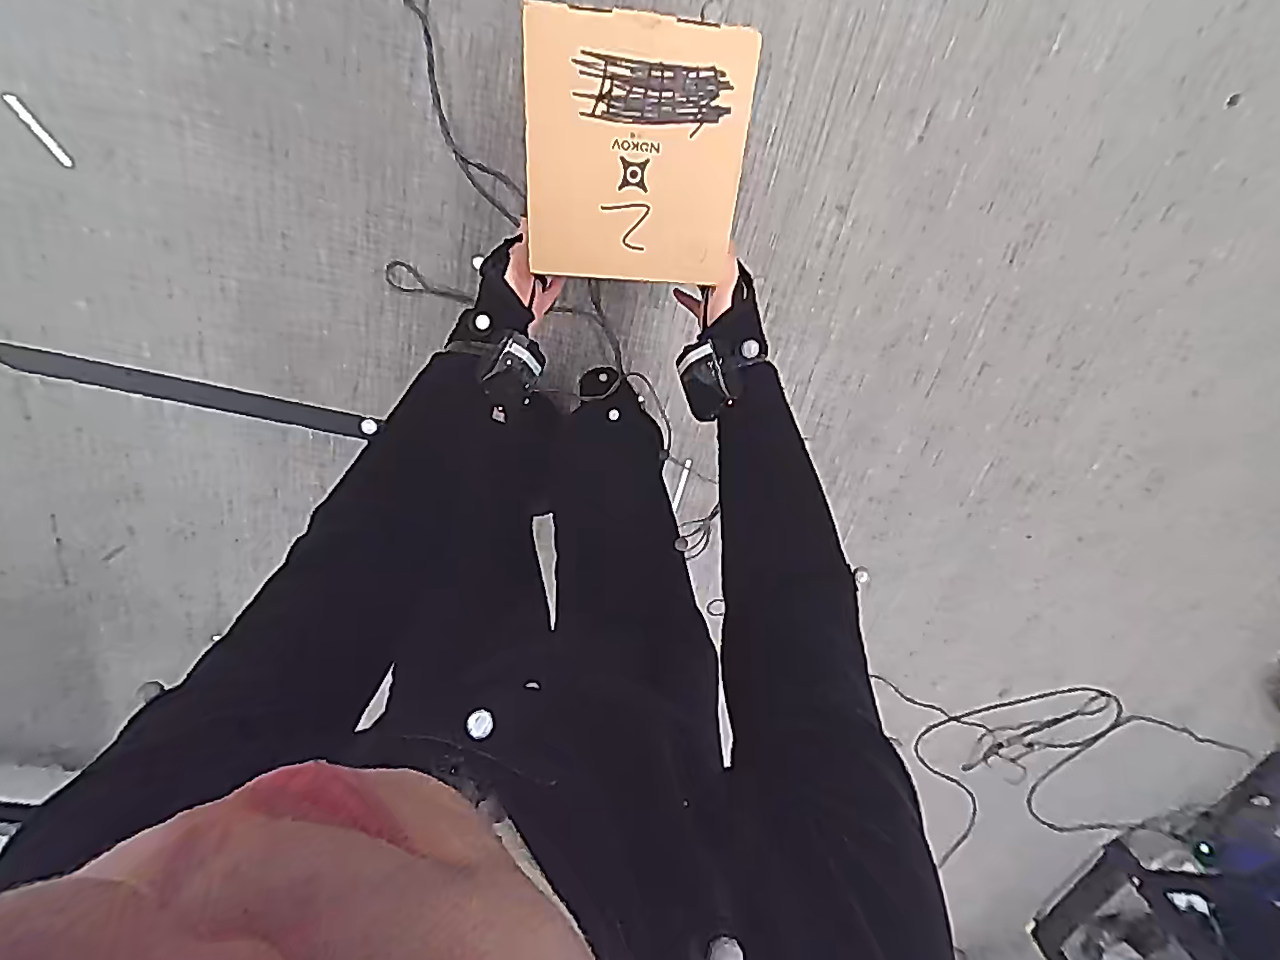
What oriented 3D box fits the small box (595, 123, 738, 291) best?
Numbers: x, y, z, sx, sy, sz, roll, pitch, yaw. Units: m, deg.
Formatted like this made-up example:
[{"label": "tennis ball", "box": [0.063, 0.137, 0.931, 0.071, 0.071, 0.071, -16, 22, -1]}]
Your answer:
[{"label": "small box", "box": [0.036, -0.413, 0.848, 0.168, 0.176, 0.179, 1, 97, -26]}]
